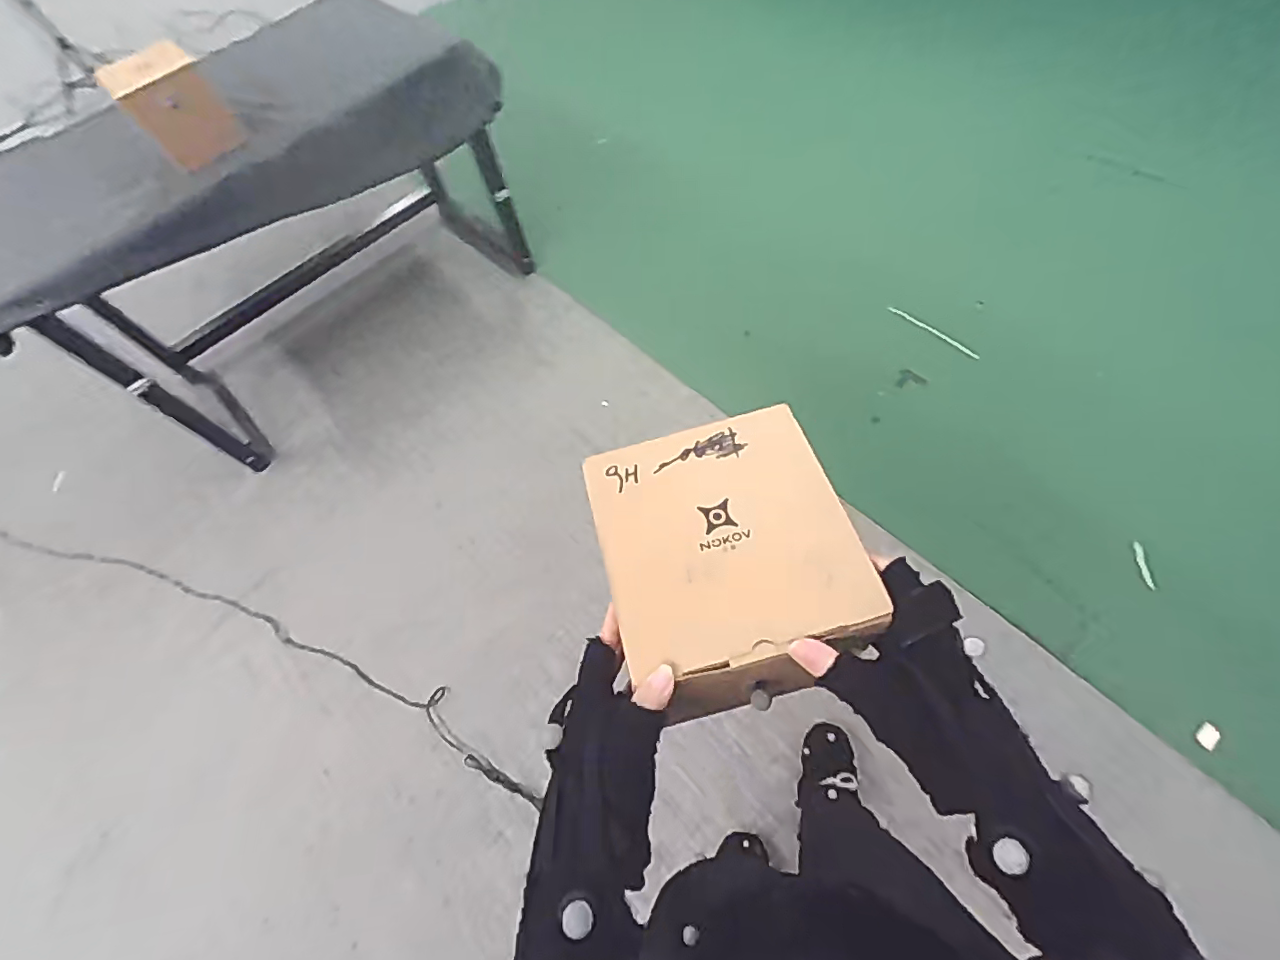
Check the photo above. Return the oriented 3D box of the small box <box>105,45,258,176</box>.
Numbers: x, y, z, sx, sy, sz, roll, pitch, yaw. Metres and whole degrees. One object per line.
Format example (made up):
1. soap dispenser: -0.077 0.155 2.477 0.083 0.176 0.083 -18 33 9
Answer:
1. small box: -1.018 -0.823 1.213 0.179 0.176 0.168 -41 66 -16

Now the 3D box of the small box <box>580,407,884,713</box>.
1. small box: 0.063 0.076 0.437 0.168 0.176 0.179 -16 58 -2
